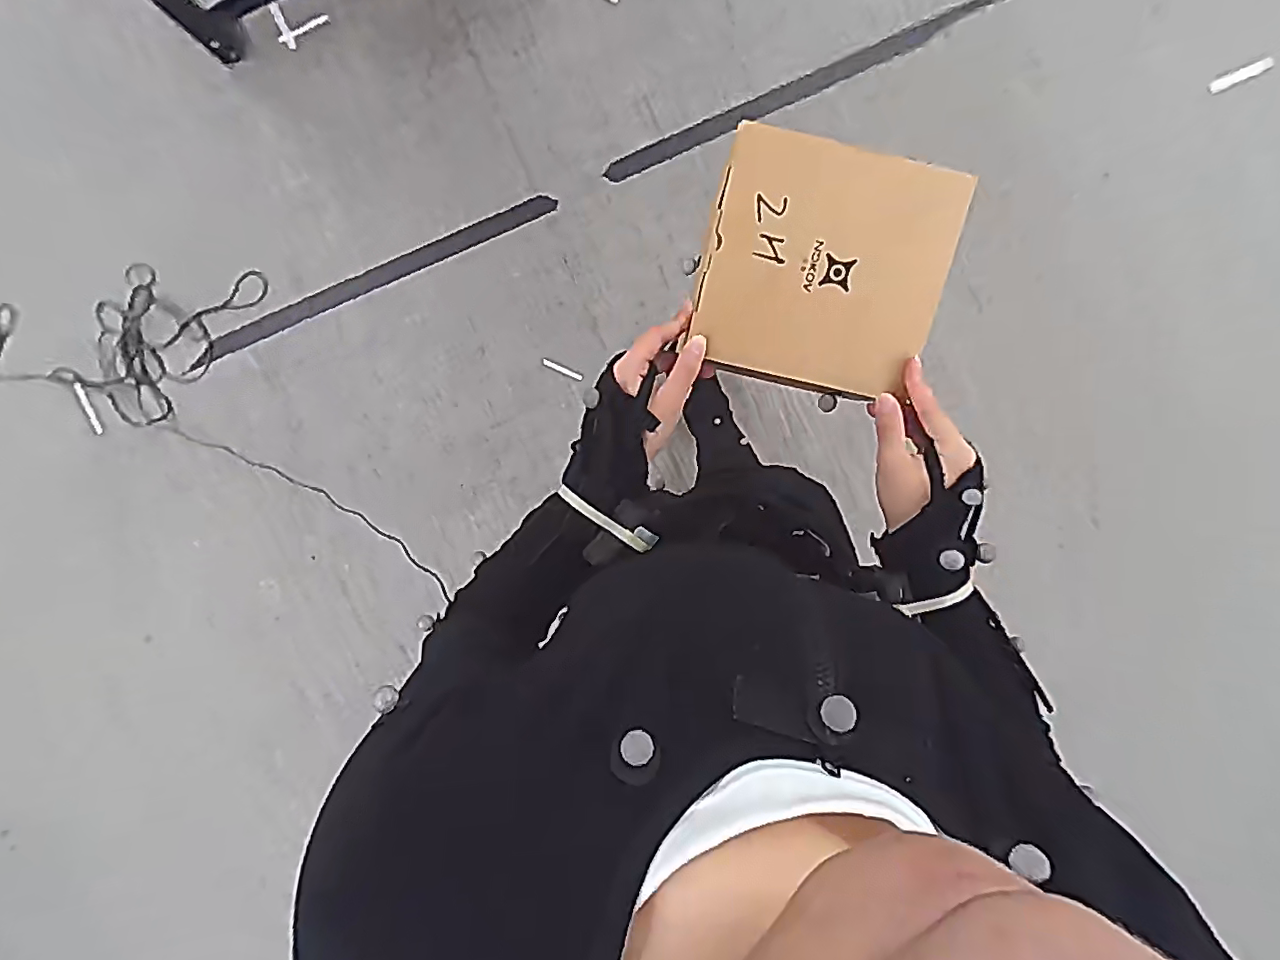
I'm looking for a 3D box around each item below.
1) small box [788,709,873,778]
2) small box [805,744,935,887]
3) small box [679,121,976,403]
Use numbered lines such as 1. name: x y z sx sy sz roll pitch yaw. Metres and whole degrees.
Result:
1. small box: 0.485 0.696 1.336 0.168 0.176 0.179 -21 95 2
2. small box: 0.488 0.715 1.175 0.179 0.176 0.168 -29 94 3
3. small box: 0.138 -0.170 0.472 0.179 0.176 0.168 12 101 -1
